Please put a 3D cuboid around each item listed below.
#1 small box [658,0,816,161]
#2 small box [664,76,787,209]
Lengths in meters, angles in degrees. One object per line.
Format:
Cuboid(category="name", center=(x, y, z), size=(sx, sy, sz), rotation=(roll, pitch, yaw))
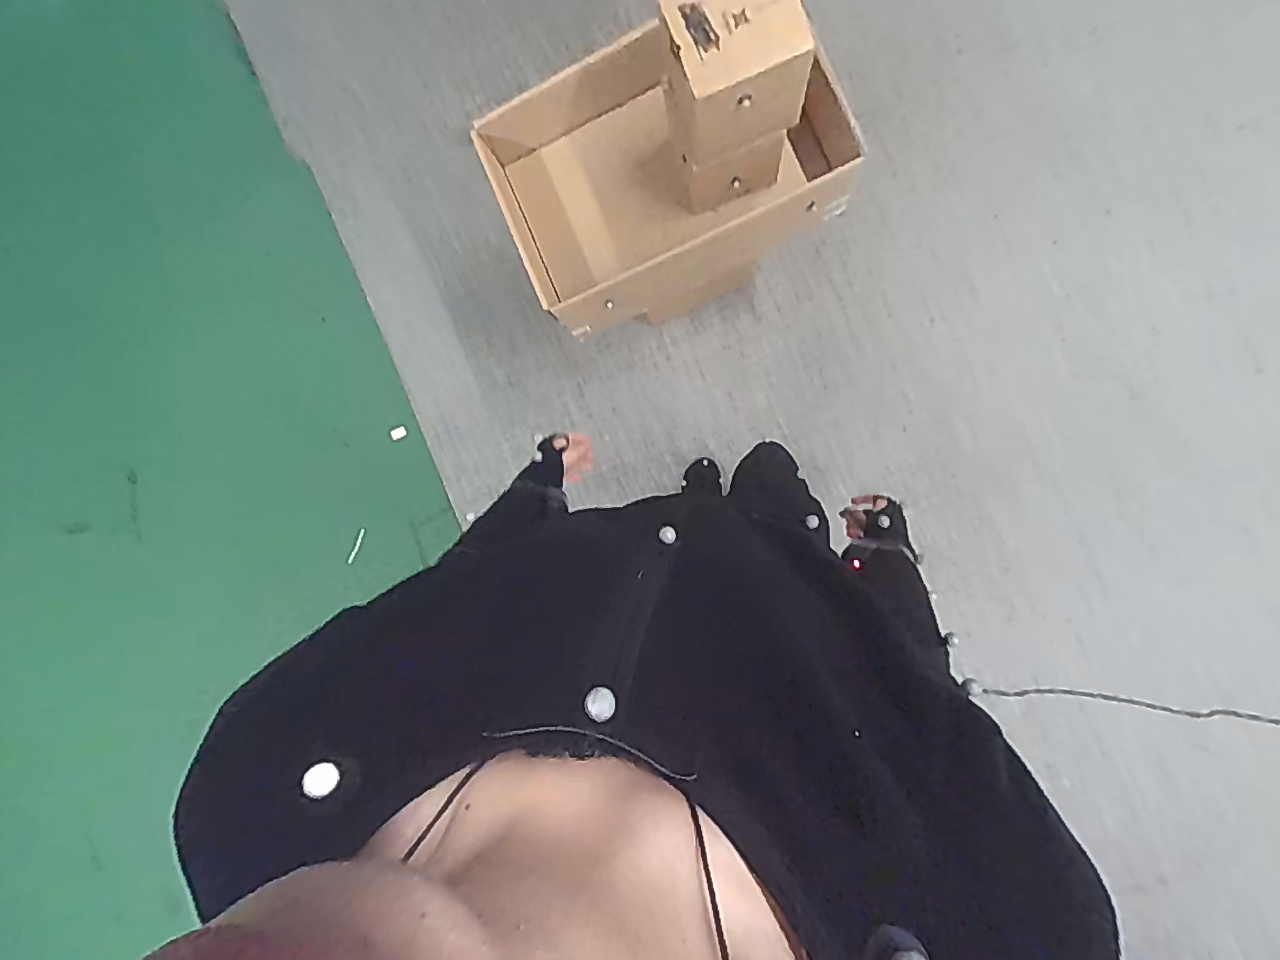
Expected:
Cuboid(category="small box", center=(0.143, -0.627, 0.816), size=(0.179, 0.176, 0.168), rotation=(-19, 87, 8))
Cuboid(category="small box", center=(0.155, -0.624, 0.980), size=(0.168, 0.176, 0.179), rotation=(-18, 87, 8))
